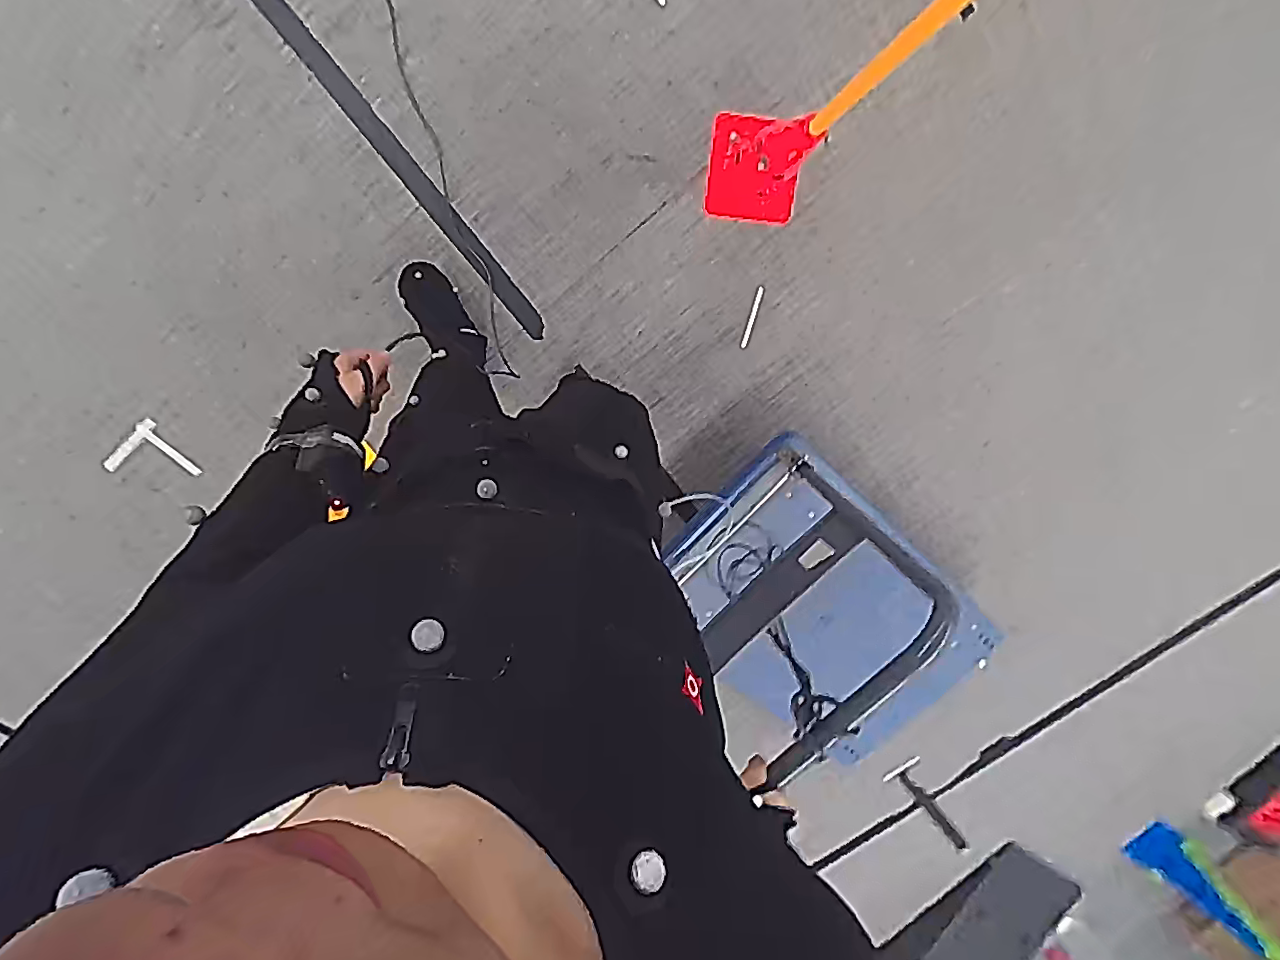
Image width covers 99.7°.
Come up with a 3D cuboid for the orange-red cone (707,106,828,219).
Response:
[{"bbox_3d":[0.263,-0.616,1.001,0.198,0.360,0.199,5,111,-6],"label":"orange-red cone"}]
